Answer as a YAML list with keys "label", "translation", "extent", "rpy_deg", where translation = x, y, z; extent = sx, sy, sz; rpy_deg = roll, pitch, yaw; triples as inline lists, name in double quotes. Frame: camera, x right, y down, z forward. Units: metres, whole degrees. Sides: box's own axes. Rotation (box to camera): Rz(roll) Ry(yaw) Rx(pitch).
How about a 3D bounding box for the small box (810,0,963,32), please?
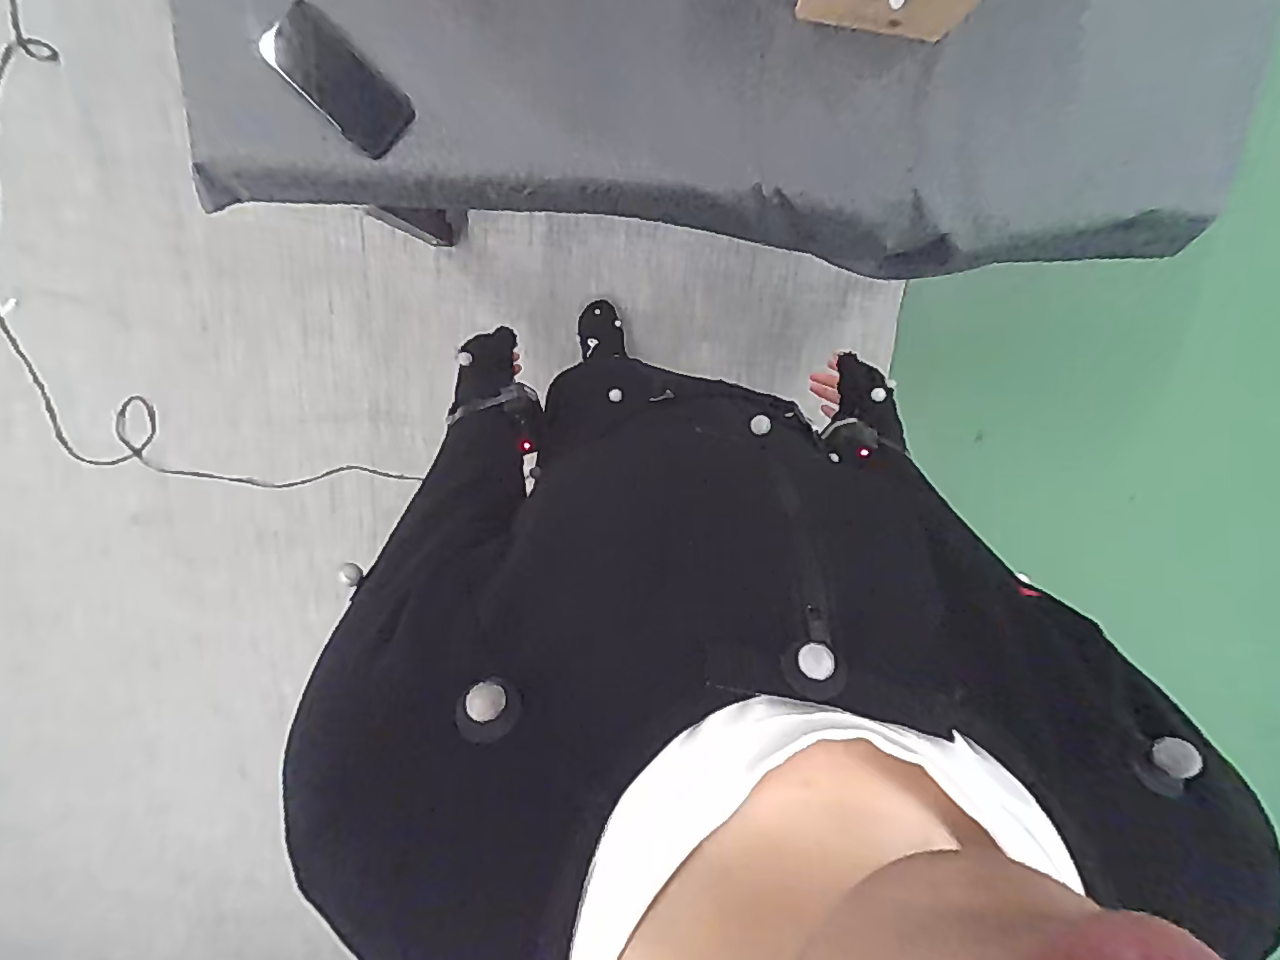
- label: "small box"
  translation: [0.262, -0.565, 0.503]
  extent: [0.168, 0.176, 0.179]
  rpy_deg: [6, 105, -3]
